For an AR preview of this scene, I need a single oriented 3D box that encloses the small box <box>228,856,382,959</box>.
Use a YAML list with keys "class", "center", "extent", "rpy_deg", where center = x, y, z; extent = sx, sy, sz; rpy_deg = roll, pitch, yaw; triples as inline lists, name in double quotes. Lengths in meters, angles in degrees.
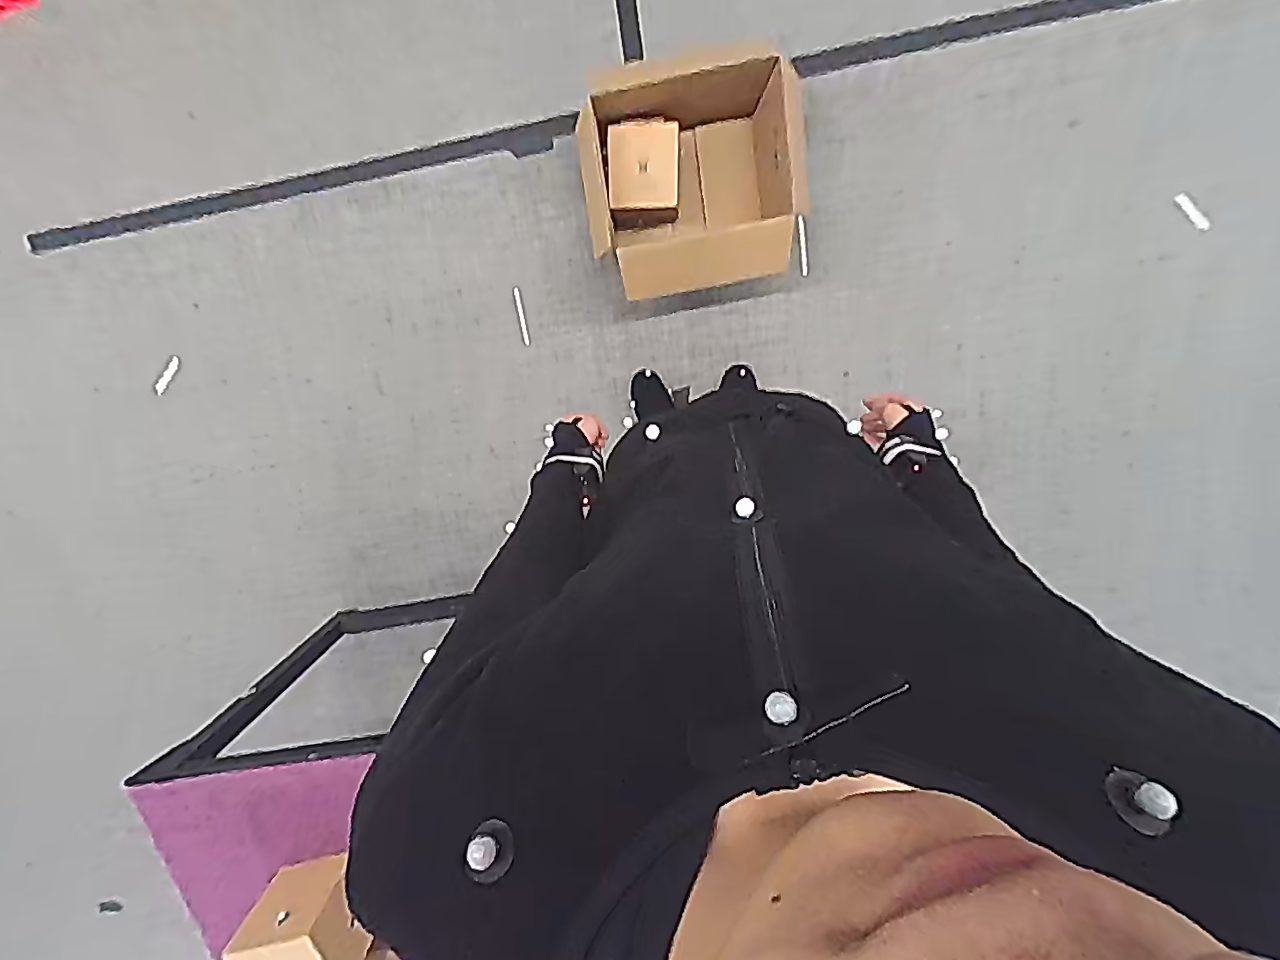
- class: "small box"
  center: [-0.640, 0.883, 1.066]
  extent: [0.179, 0.176, 0.168]
  rpy_deg: [-15, 104, 6]
